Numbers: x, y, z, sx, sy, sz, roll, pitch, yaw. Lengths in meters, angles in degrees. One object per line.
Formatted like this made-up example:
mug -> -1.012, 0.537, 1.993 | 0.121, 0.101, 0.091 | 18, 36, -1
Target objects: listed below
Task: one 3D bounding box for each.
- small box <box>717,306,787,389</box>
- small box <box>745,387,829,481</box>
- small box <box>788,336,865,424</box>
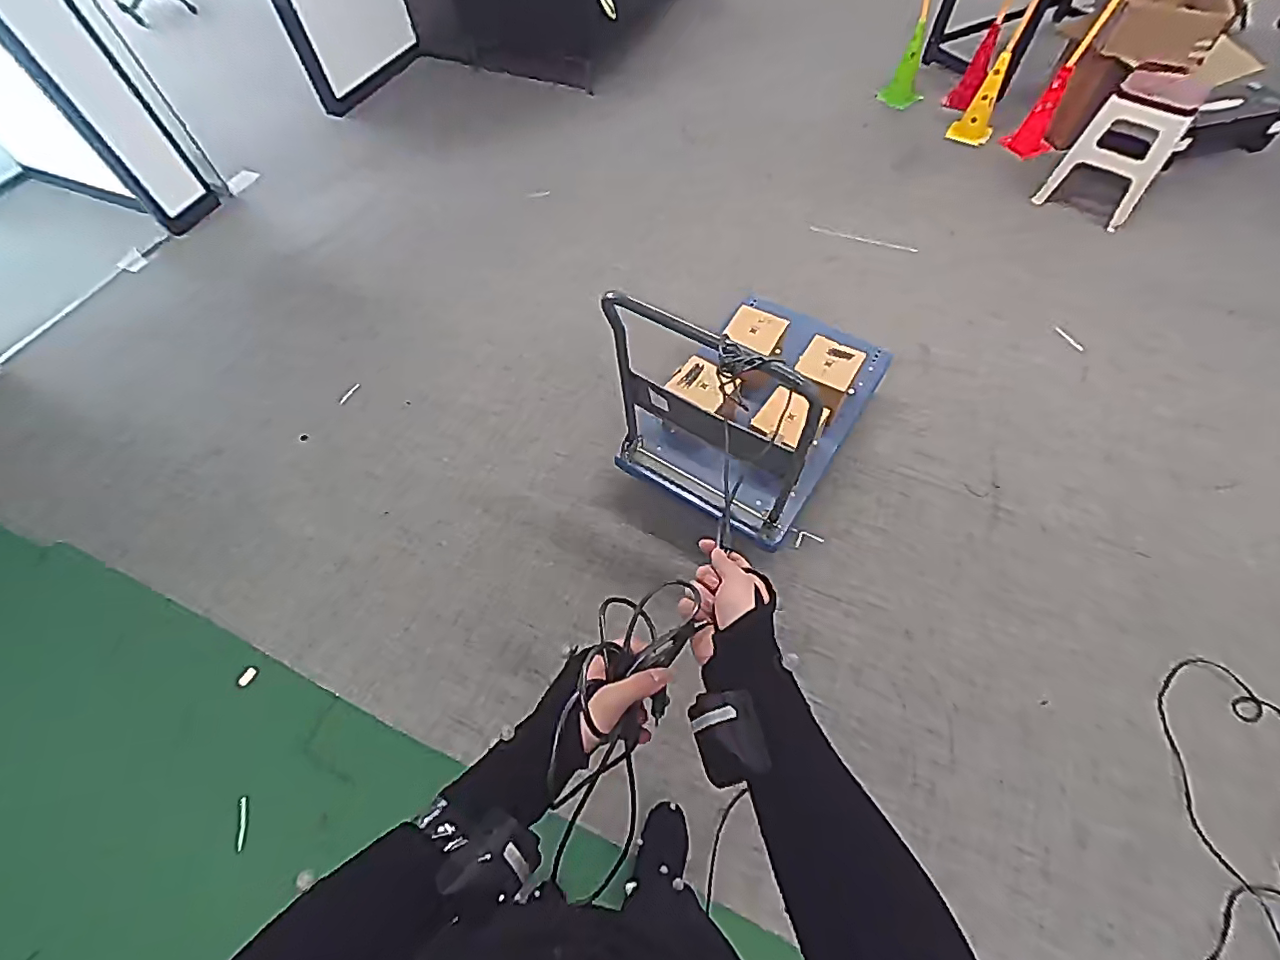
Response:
small box -> 0.361, -0.429, 1.769 | 0.168, 0.176, 0.179 | 27, 64, 17
small box -> 0.425, -0.132, 1.593 | 0.168, 0.176, 0.179 | 32, 67, 20
small box -> 0.571, -0.310, 1.687 | 0.168, 0.176, 0.179 | 28, 66, 19
